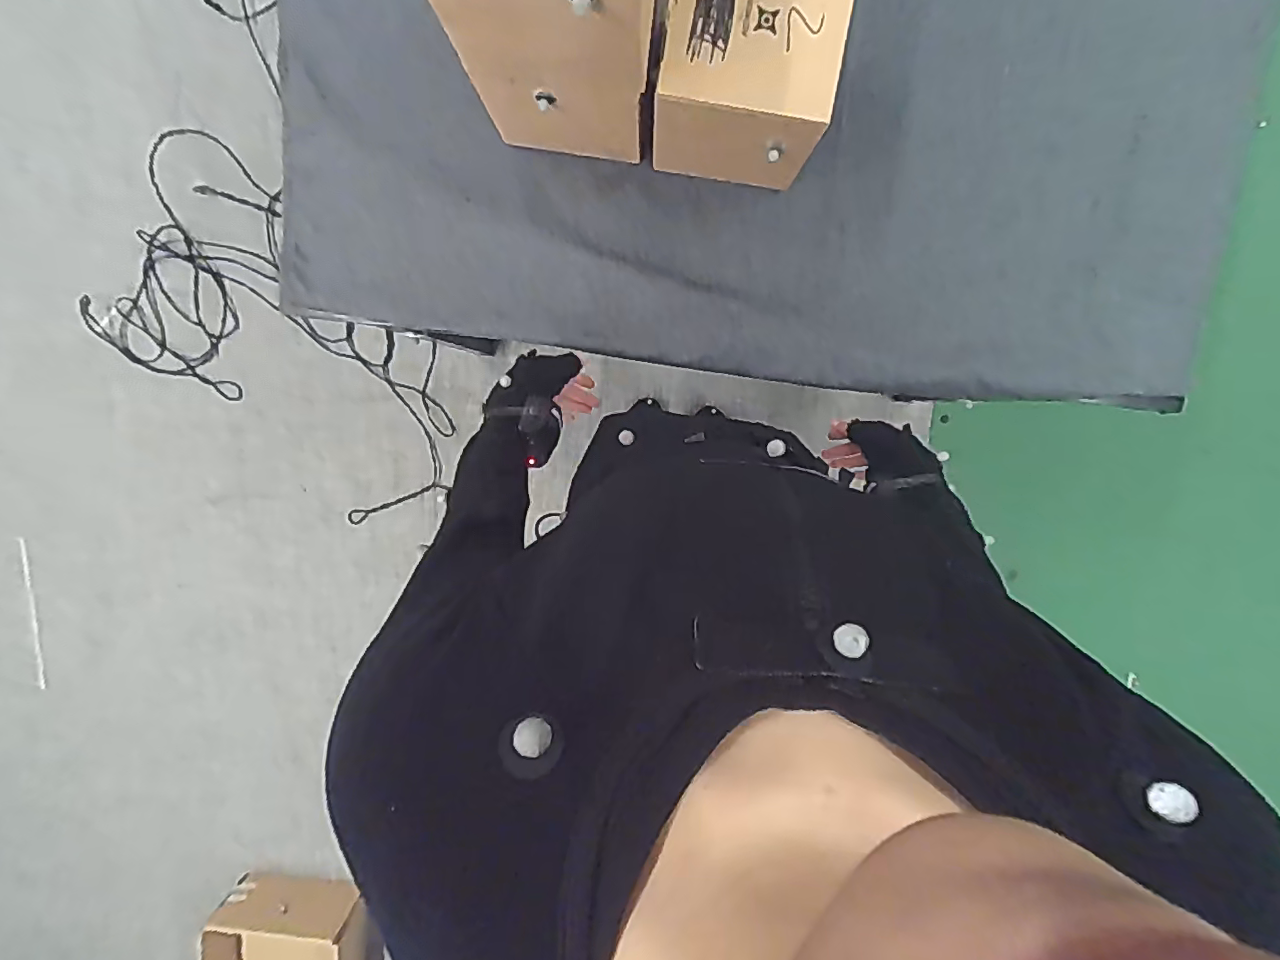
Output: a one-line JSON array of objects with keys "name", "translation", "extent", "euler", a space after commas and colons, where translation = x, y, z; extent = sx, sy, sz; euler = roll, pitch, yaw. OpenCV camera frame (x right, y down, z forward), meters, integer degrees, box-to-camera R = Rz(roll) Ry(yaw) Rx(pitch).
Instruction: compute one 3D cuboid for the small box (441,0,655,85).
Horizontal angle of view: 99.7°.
[{"name": "small box", "translation": [-0.070, -0.460, 0.437], "extent": [0.179, 0.176, 0.168], "euler": [7, 97, -1]}]
